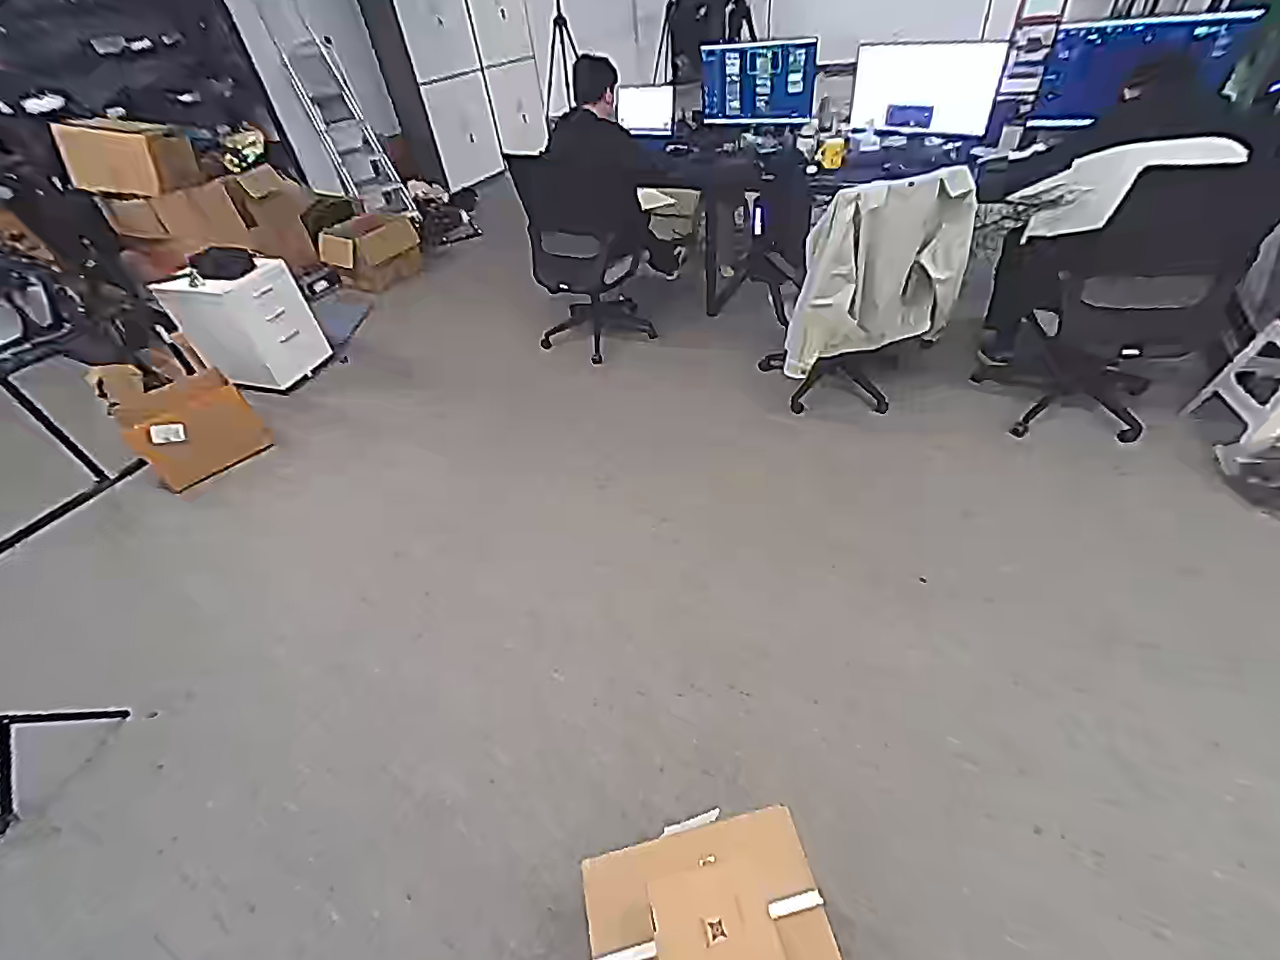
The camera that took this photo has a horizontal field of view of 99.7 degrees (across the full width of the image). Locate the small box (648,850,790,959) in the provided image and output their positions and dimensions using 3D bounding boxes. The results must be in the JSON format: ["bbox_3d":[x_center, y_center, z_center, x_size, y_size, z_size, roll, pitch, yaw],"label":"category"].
[{"bbox_3d":[0.122,0.721,0.851,0.179,0.176,0.168,-13,45,-7],"label":"small box"}]
